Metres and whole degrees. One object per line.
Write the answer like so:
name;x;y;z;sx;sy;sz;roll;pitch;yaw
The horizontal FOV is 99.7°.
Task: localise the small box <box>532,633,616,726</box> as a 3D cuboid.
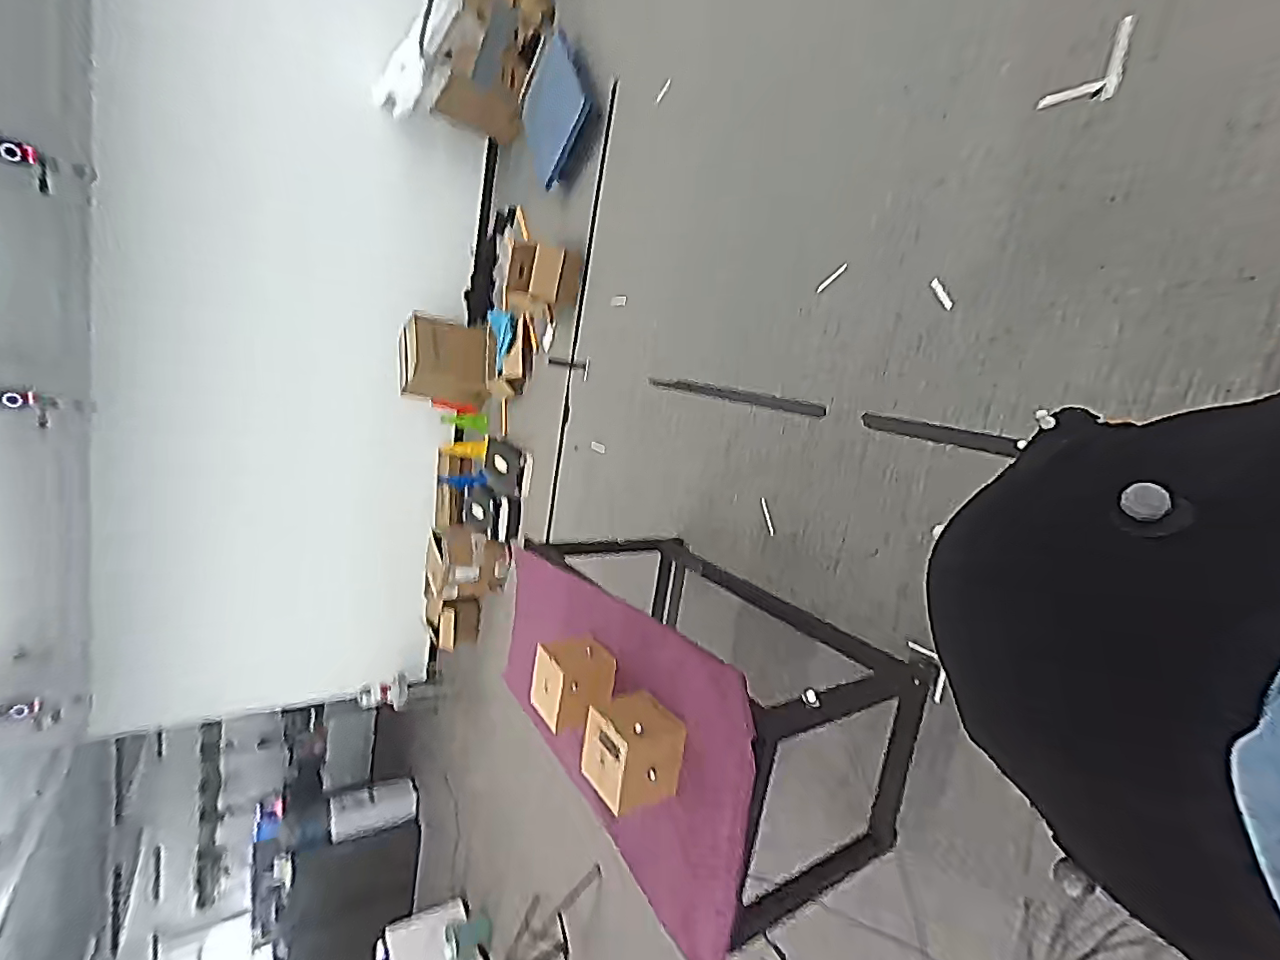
small box;-0.185;0.549;1.514;0.168;0.176;0.179;22;105;53
